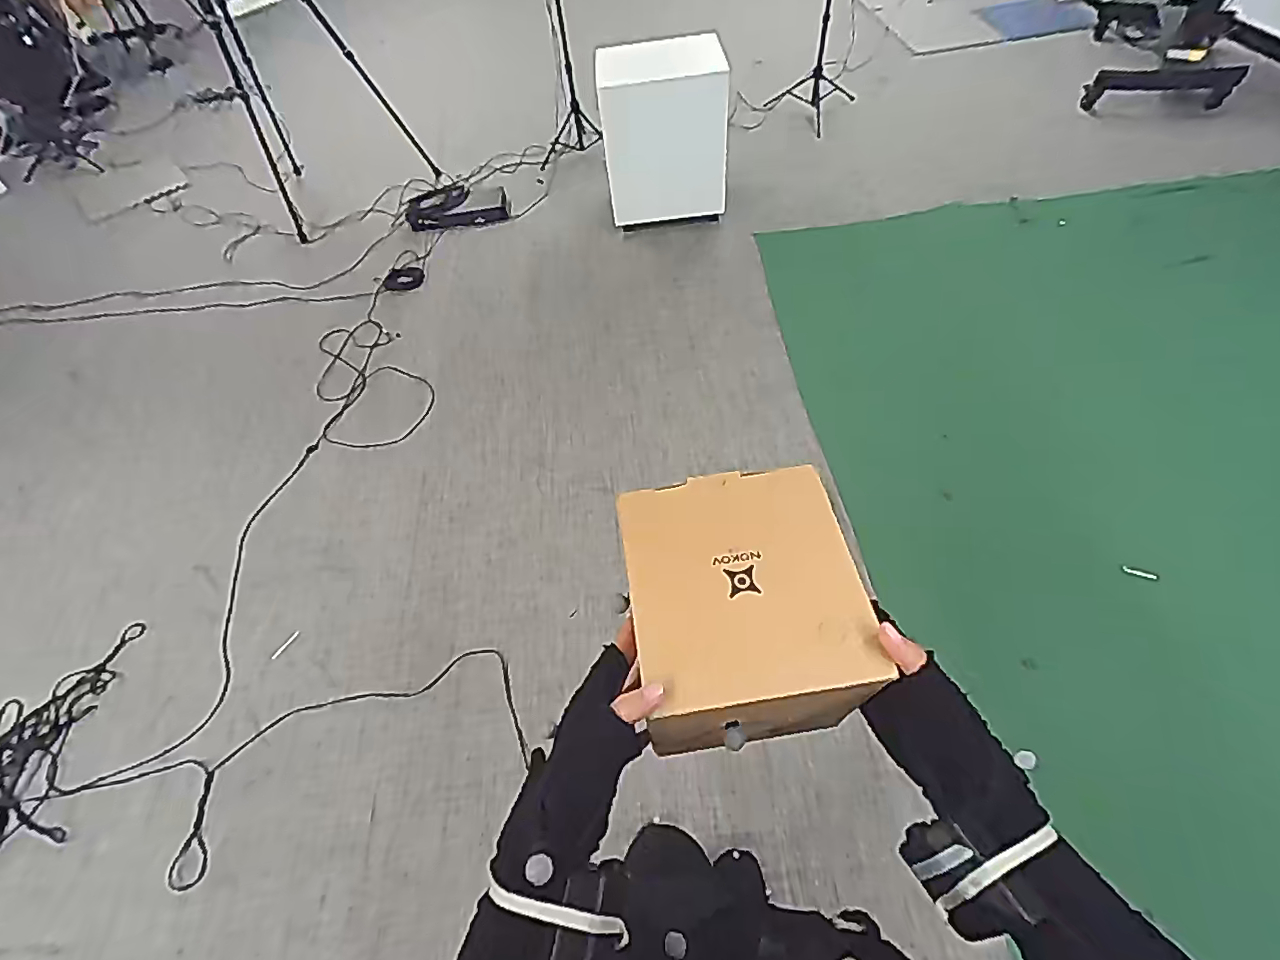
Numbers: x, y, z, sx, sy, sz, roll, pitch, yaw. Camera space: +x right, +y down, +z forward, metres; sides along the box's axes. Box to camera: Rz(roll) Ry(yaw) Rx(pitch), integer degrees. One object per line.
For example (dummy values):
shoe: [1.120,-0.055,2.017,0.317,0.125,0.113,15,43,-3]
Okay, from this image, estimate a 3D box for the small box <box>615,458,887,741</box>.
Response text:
small box: [0.077,0.109,0.460,0.168,0.176,0.179,-9,53,-2]
